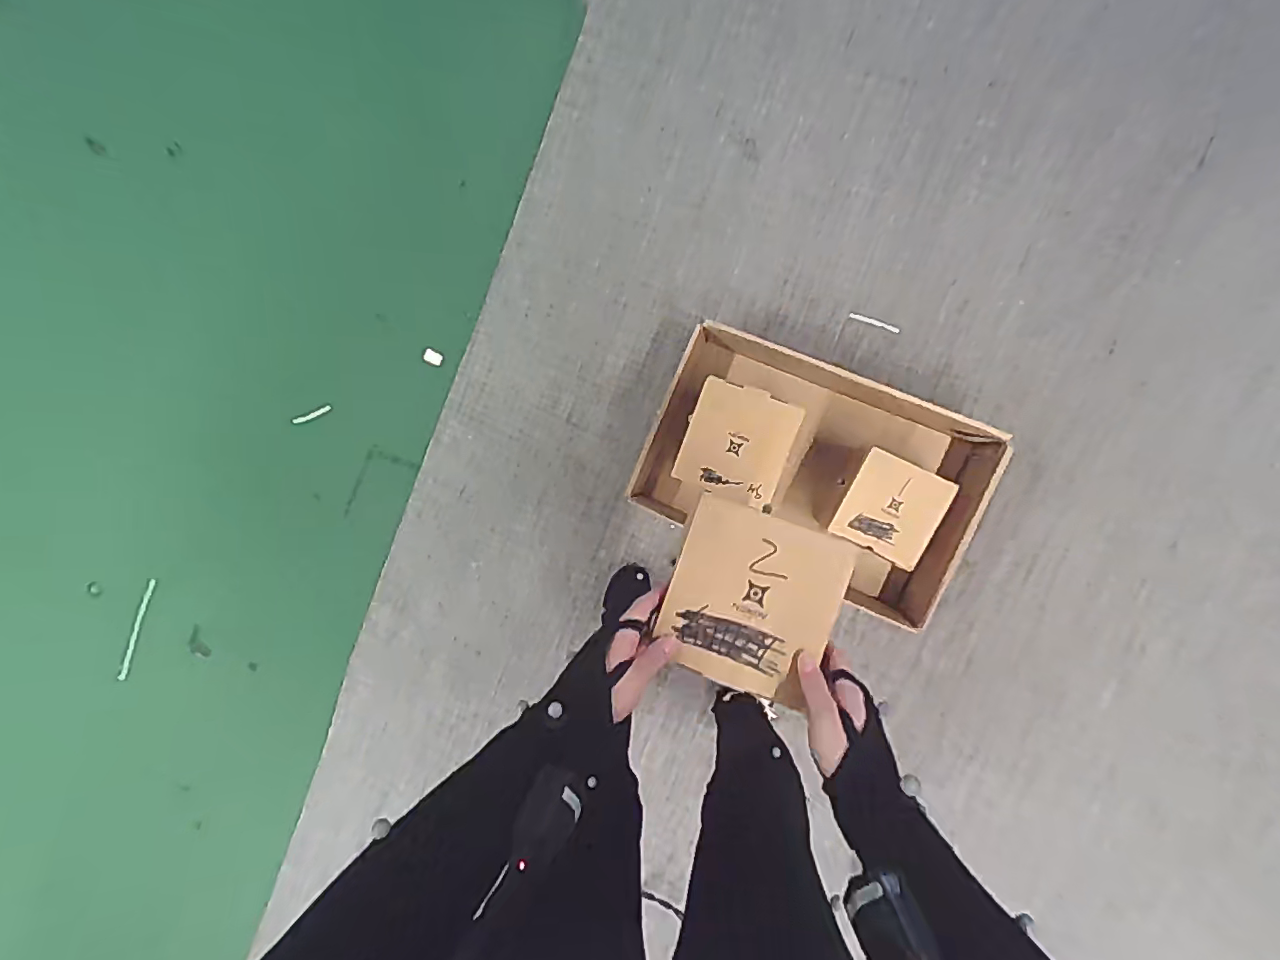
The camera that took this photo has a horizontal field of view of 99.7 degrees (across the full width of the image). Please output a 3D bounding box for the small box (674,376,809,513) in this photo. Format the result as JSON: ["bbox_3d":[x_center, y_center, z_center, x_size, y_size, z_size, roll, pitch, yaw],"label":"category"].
[{"bbox_3d":[0.170,-0.058,0.932,0.168,0.176,0.179,22,94,9],"label":"small box"}]
